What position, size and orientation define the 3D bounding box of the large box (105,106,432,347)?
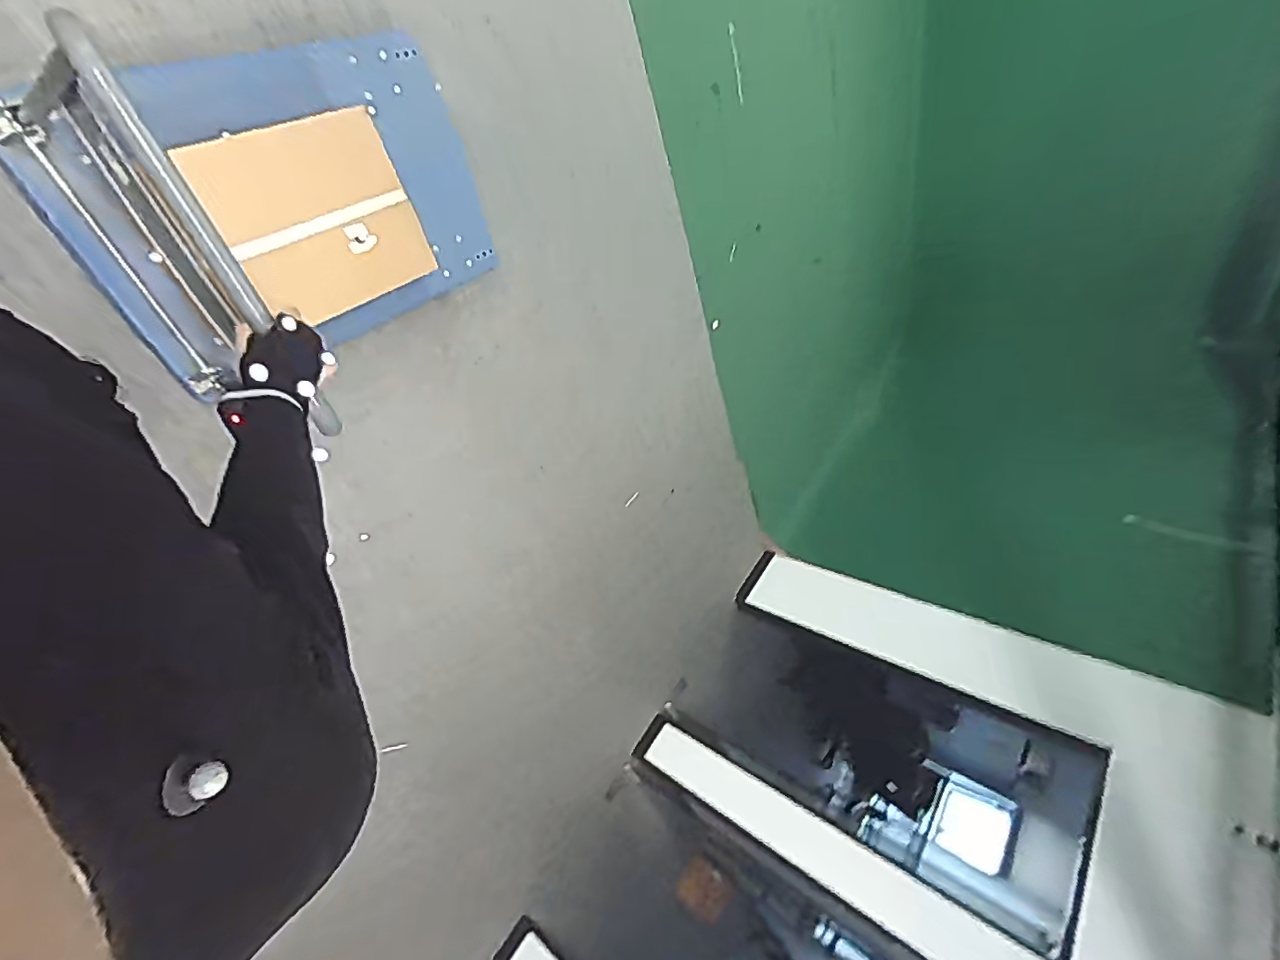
[{"bbox_3d":[-0.730,-0.506,1.101,0.408,0.320,0.320,-45,134,-33],"label":"large box"}]
